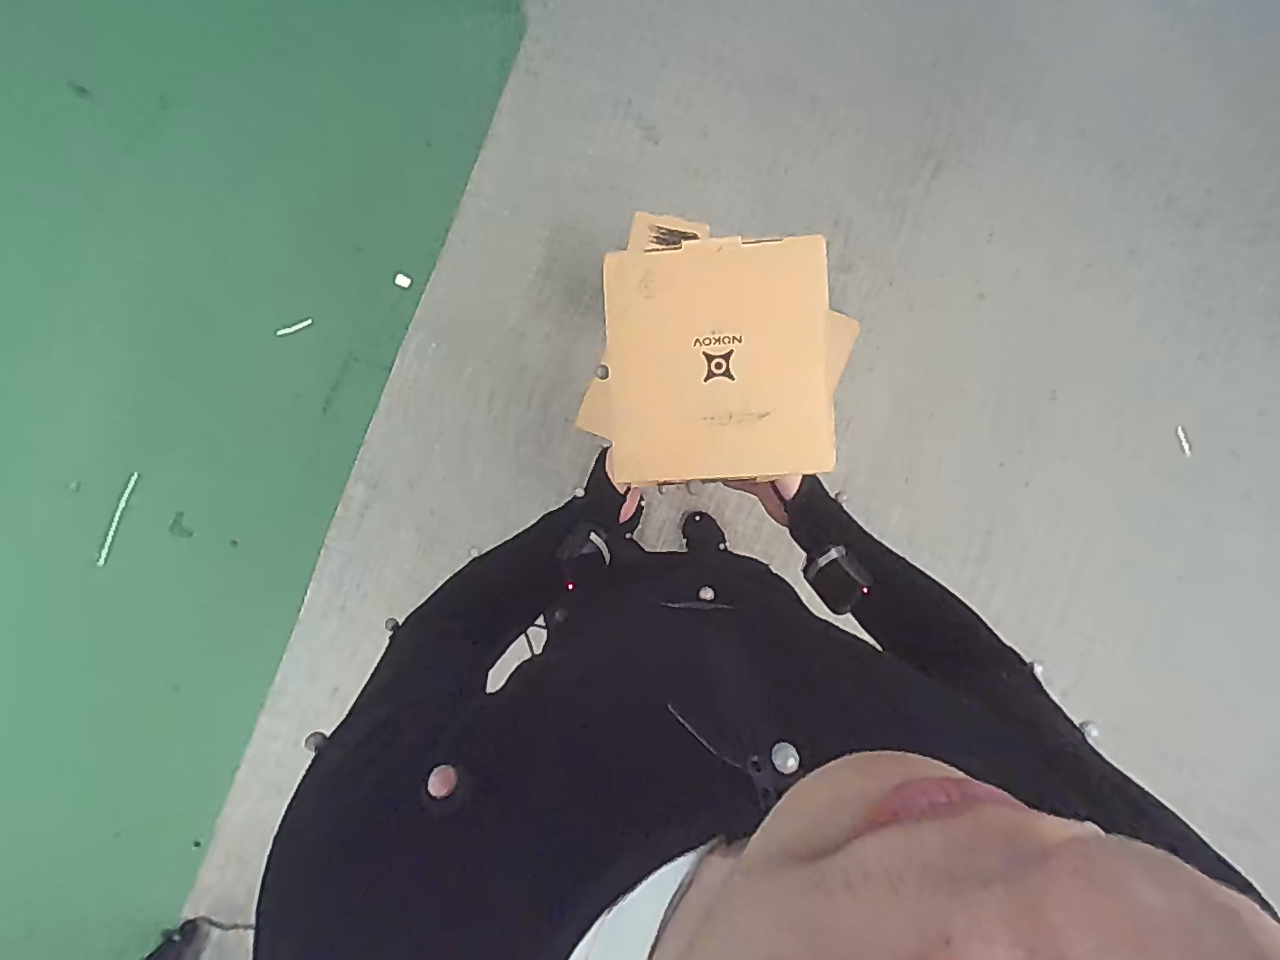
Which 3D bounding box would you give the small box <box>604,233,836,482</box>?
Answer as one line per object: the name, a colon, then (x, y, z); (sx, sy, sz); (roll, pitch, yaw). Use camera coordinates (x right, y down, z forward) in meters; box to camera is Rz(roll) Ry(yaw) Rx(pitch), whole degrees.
small box: (0.062, -0.089, 0.473); (0.168, 0.176, 0.179); (-3, 91, 5)
